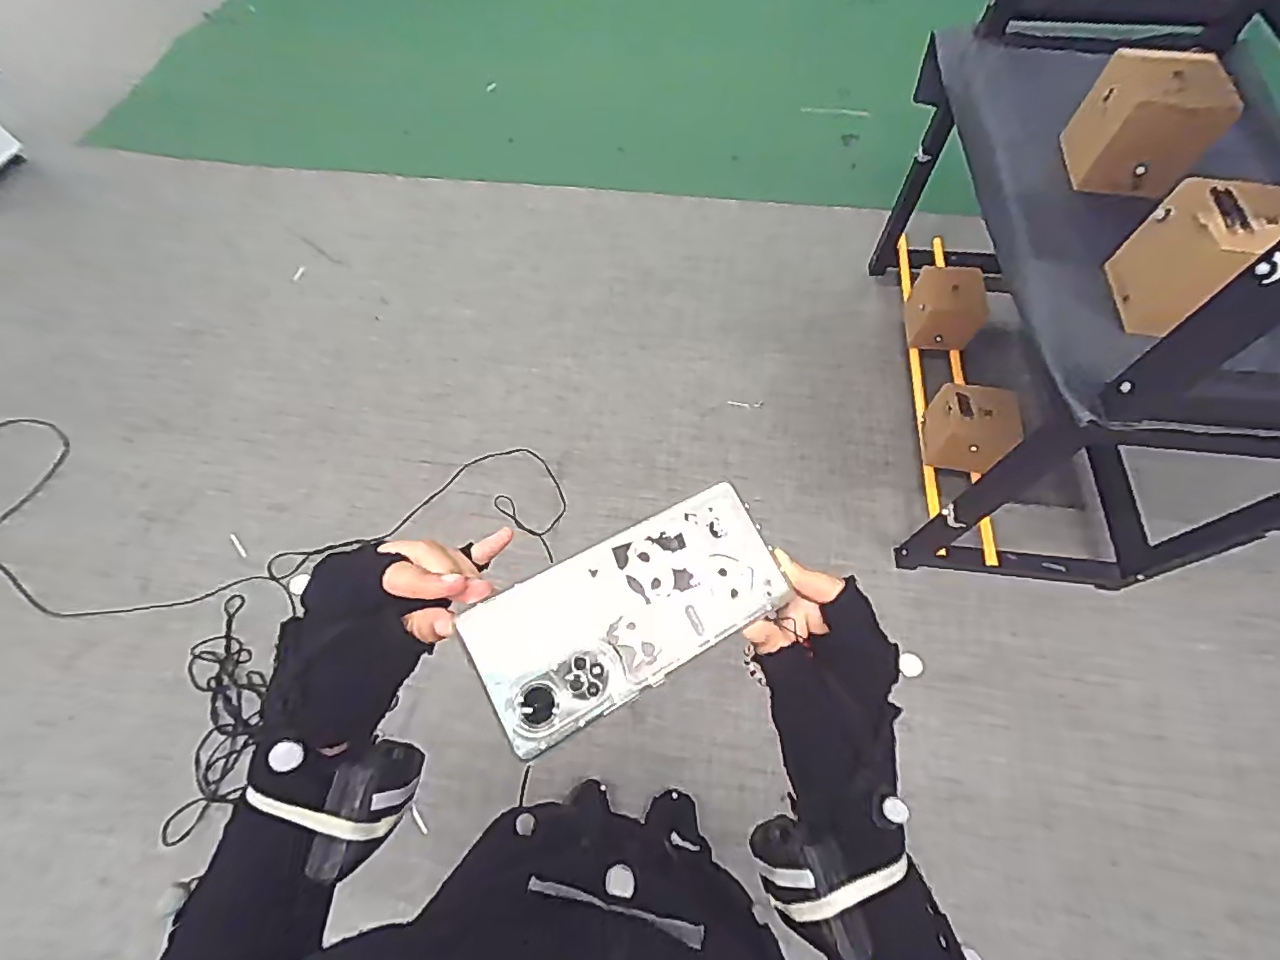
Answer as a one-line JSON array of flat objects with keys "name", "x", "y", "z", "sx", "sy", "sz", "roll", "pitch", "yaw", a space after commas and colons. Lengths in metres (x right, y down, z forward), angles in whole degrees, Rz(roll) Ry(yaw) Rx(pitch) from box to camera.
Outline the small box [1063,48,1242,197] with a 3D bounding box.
[{"name": "small box", "x": 0.944, "y": -0.671, "z": 1.021, "sx": 0.168, "sy": 0.176, "sz": 0.179, "roll": 8, "pitch": 63, "yaw": 6}]

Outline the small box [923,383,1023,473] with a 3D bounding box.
[{"name": "small box", "x": 0.876, "y": -0.135, "z": 1.446, "sx": 0.179, "sy": 0.176, "sz": 0.168, "roll": 9, "pitch": 63, "yaw": 6}]
